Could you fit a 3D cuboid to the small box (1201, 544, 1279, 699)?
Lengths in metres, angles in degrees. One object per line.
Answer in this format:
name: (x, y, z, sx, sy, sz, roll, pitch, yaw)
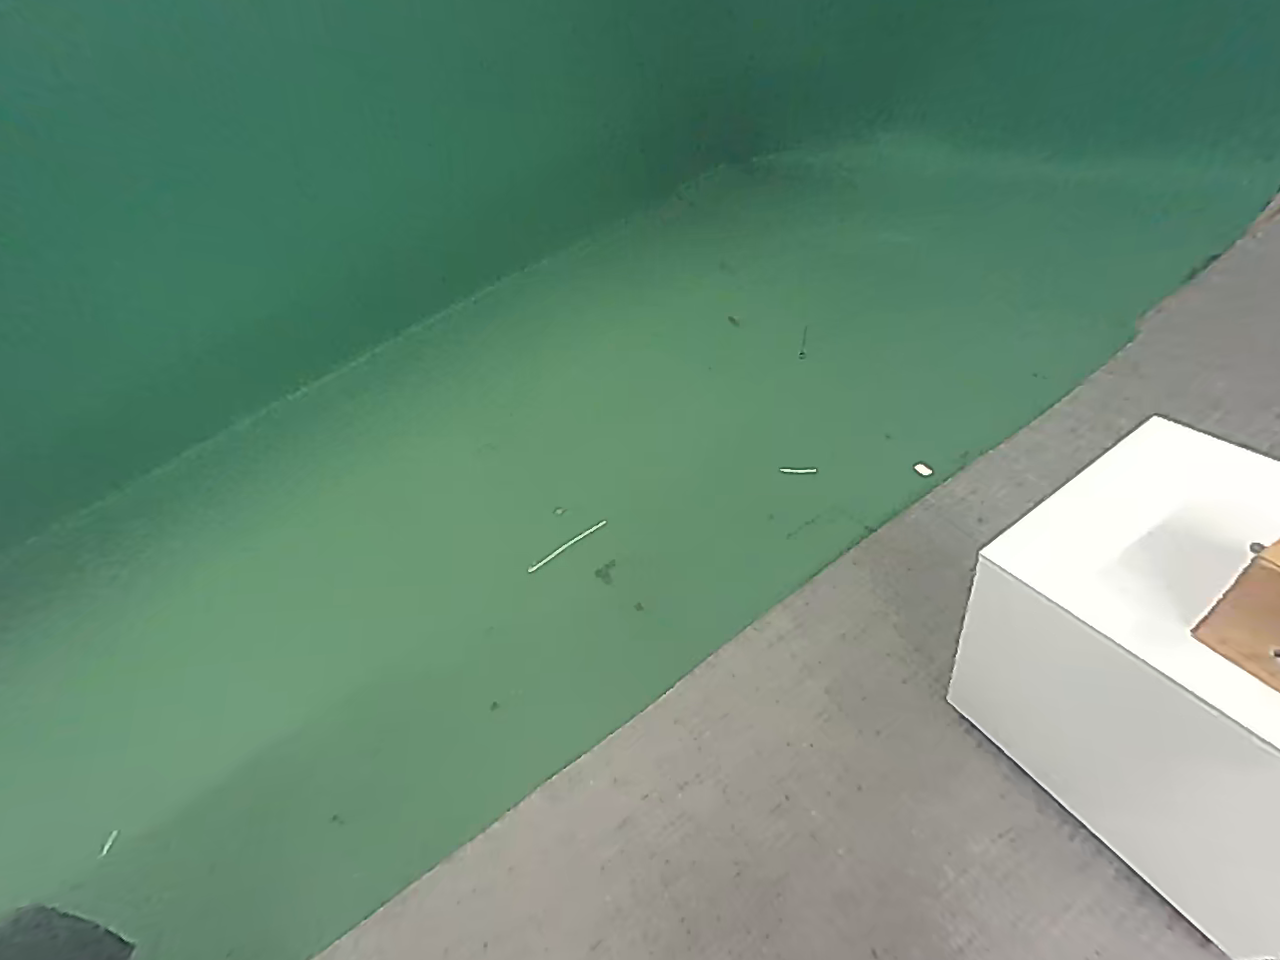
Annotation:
small box: (0.756, 0.141, 0.559, 0.179, 0.176, 0.168, -30, 43, -8)
